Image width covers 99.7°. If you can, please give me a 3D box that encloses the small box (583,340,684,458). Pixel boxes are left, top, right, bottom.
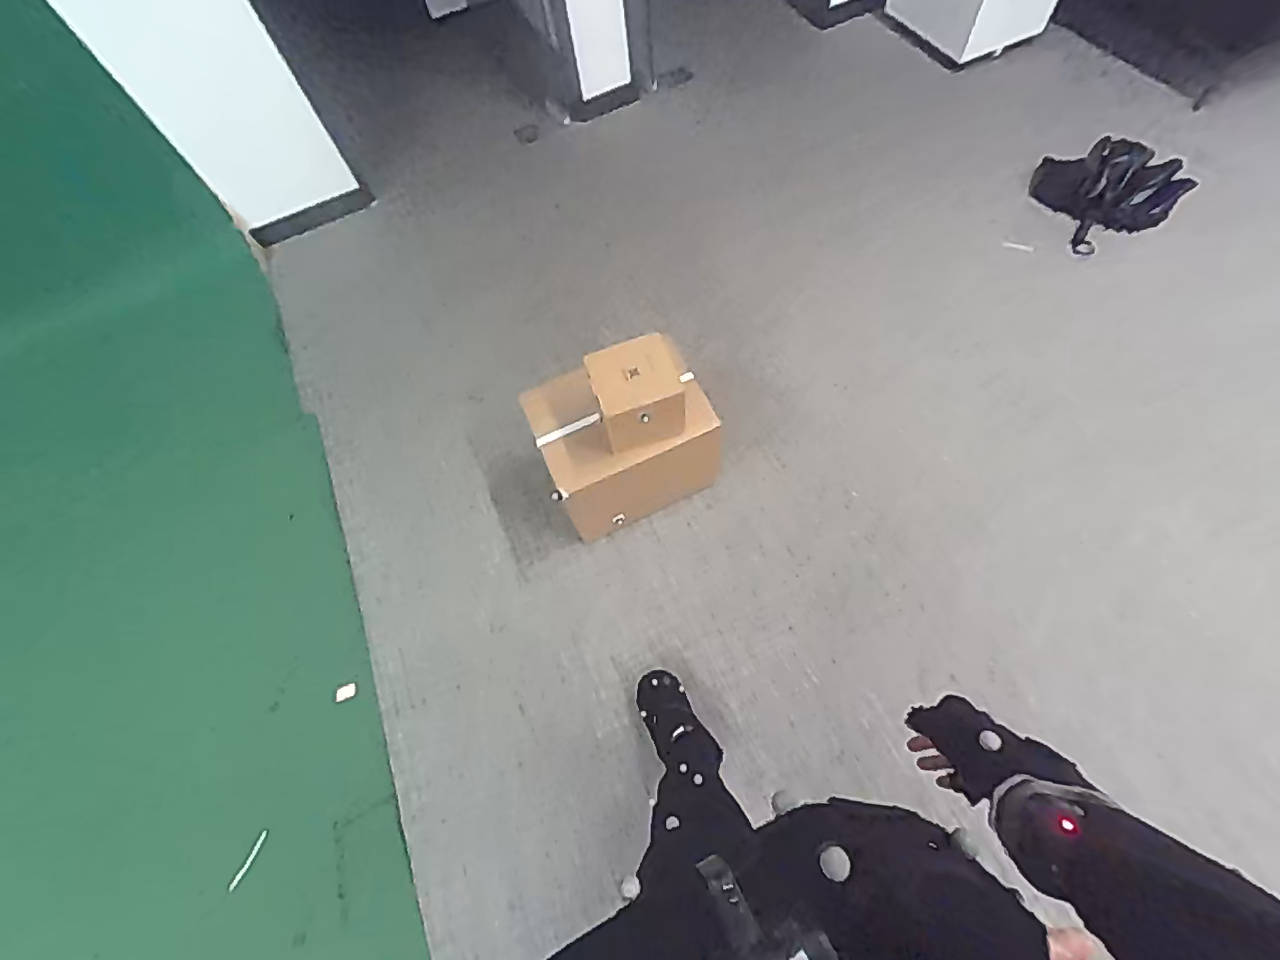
[{"bbox_3d":[-0.009,-0.171,1.187,0.179,0.176,0.168,-19,65,-5],"label":"small box"}]
